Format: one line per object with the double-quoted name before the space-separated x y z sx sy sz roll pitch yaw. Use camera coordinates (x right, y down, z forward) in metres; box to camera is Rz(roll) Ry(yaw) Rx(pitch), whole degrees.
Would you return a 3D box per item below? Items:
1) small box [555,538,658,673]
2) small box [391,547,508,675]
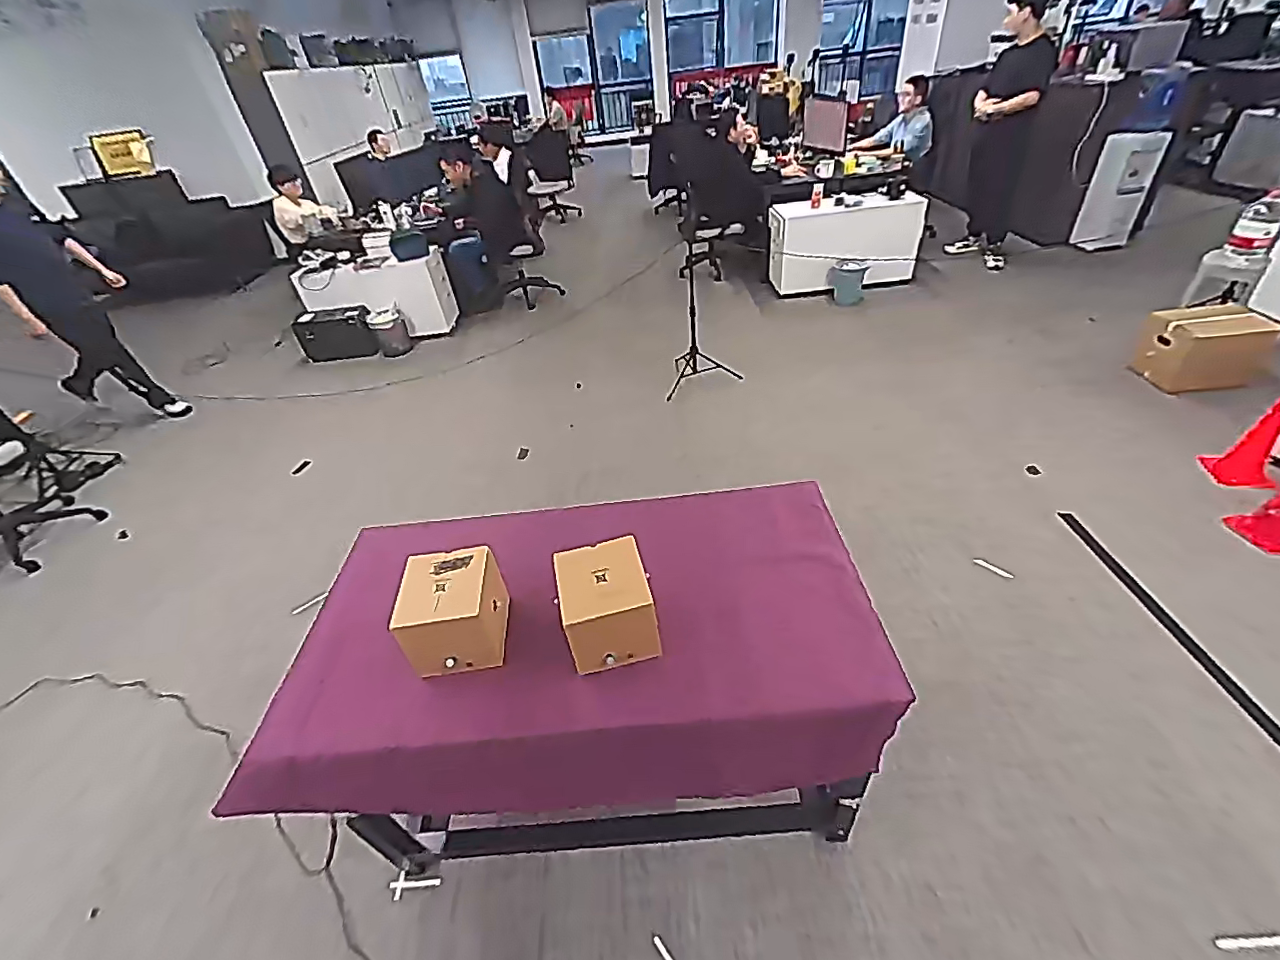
"small box" -0.066 0.245 1.065 0.168 0.176 0.179 -13 39 -6
"small box" -0.370 0.263 1.090 0.168 0.176 0.179 -8 39 -1
